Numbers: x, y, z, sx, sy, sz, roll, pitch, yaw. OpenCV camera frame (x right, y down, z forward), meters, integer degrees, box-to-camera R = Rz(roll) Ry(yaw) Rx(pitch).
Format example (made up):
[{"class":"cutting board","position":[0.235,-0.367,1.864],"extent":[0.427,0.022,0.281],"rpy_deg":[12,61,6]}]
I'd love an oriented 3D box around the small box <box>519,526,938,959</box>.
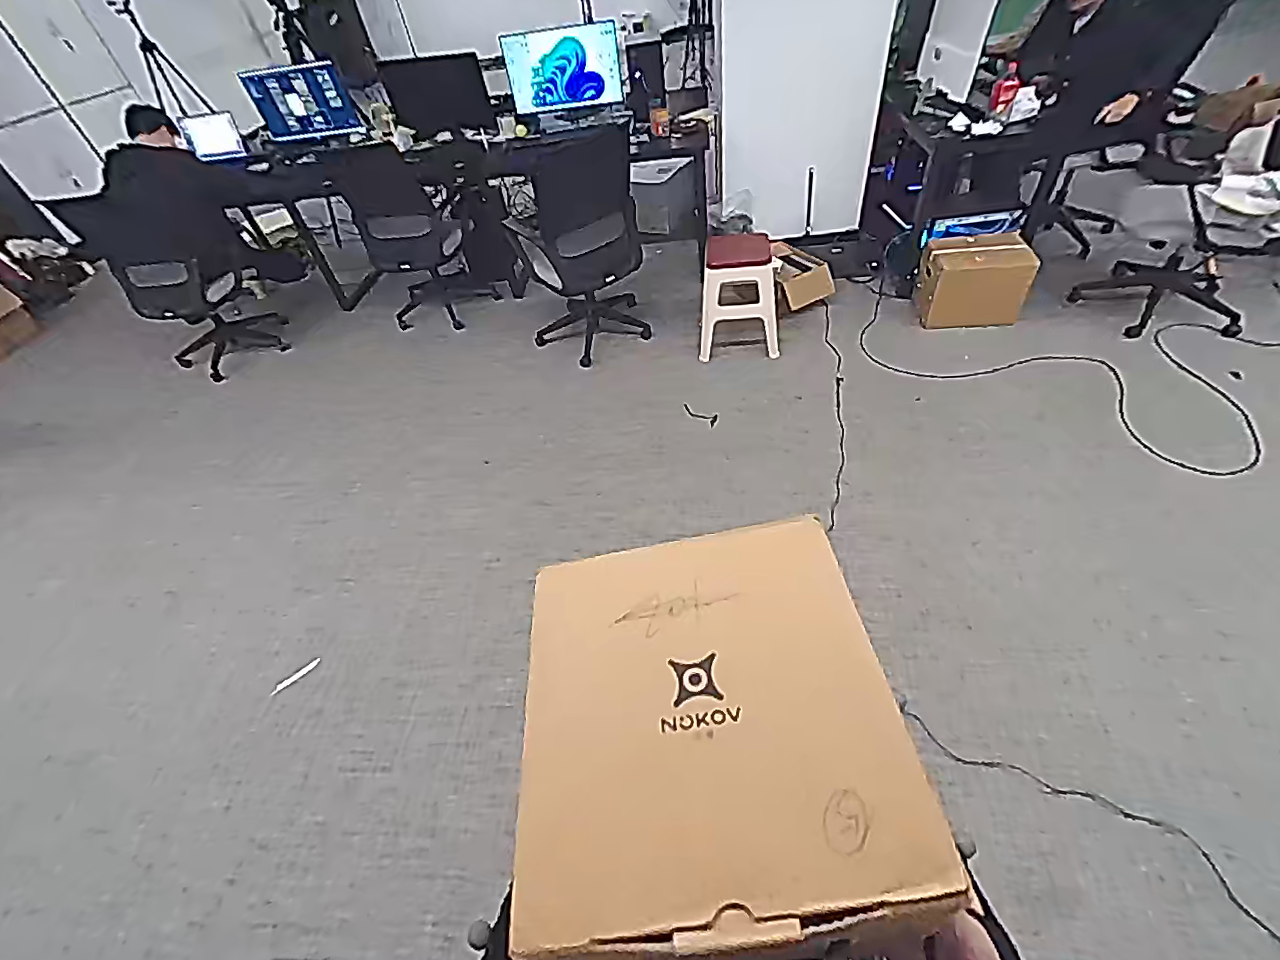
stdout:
[{"class":"small box","position":[0.041,0.158,0.317],"extent":[0.168,0.176,0.179],"rpy_deg":[-11,44,4]}]
